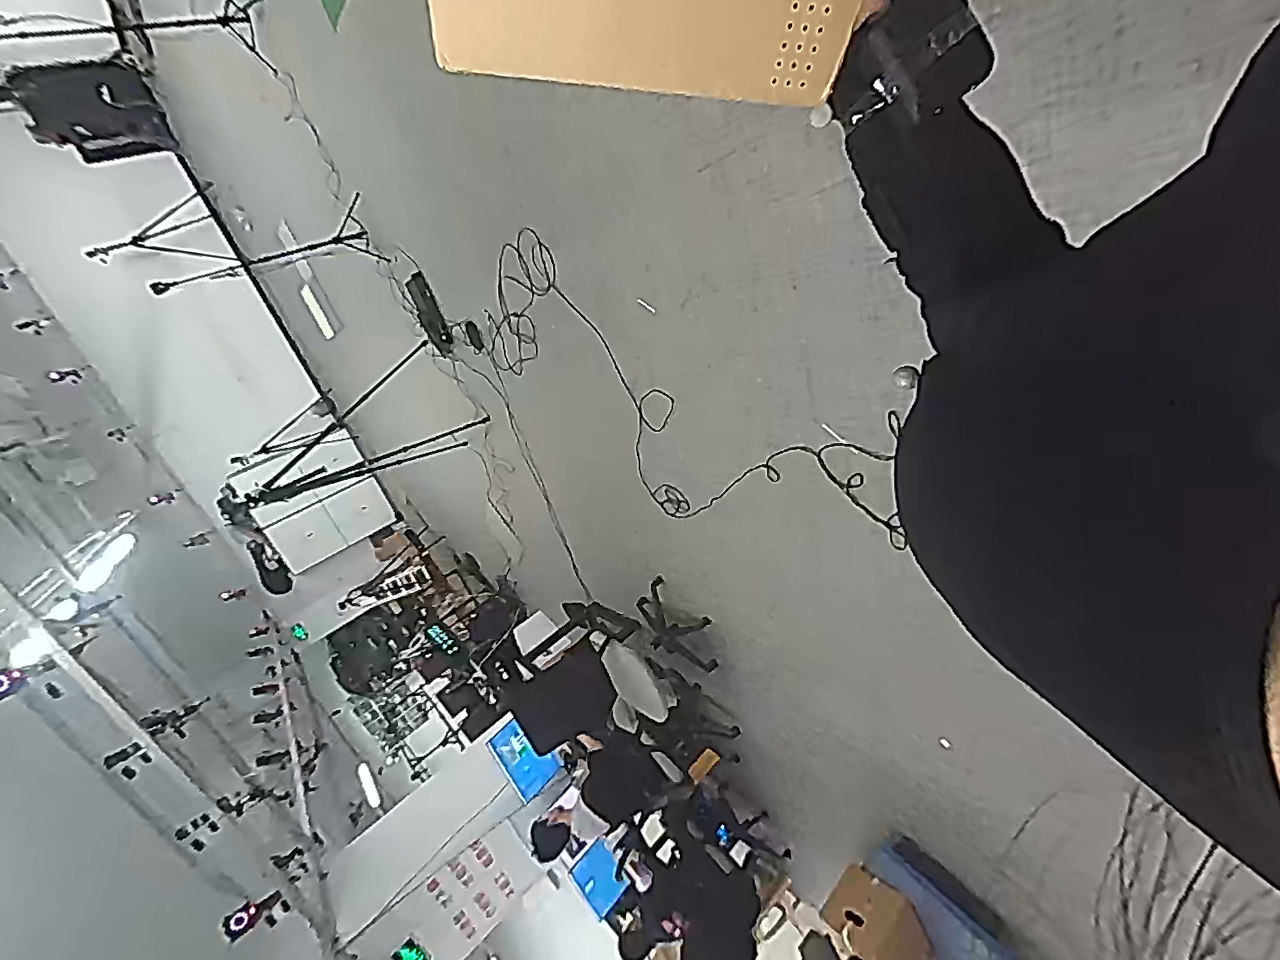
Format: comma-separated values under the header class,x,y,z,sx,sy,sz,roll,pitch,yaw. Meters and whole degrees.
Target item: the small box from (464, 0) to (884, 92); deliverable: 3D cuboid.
class,x,y,z,sx,sy,sz,roll,pitch,yaw
small box,0.017,-0.283,0.215,0.168,0.176,0.179,100,168,-56
